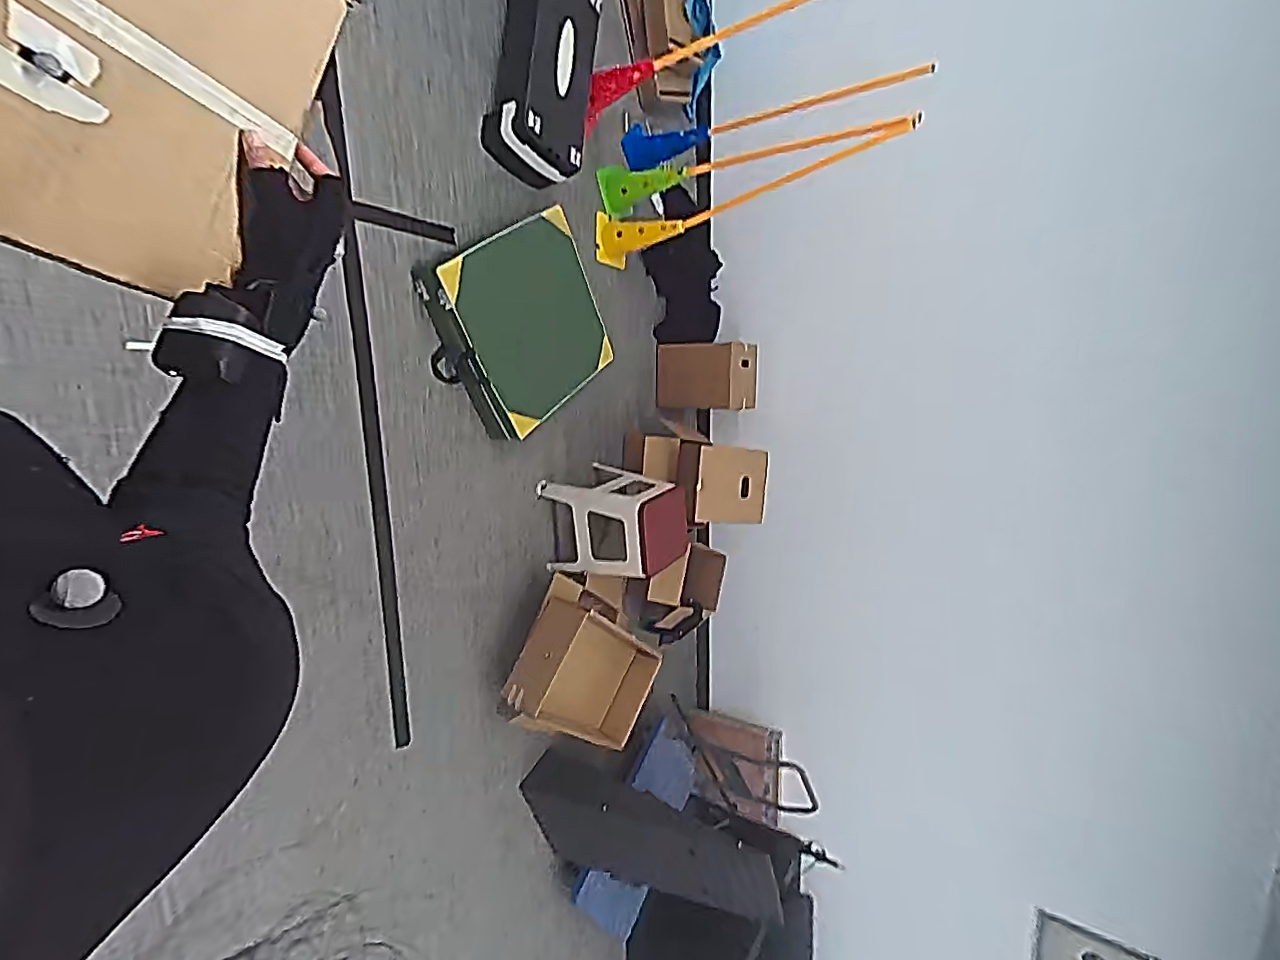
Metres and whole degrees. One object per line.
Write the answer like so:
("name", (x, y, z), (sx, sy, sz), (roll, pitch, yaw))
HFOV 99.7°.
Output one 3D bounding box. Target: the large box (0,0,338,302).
("large box", (-0.531, -0.373, 0.390), (0.408, 0.320, 0.320), (20, 91, -57))
